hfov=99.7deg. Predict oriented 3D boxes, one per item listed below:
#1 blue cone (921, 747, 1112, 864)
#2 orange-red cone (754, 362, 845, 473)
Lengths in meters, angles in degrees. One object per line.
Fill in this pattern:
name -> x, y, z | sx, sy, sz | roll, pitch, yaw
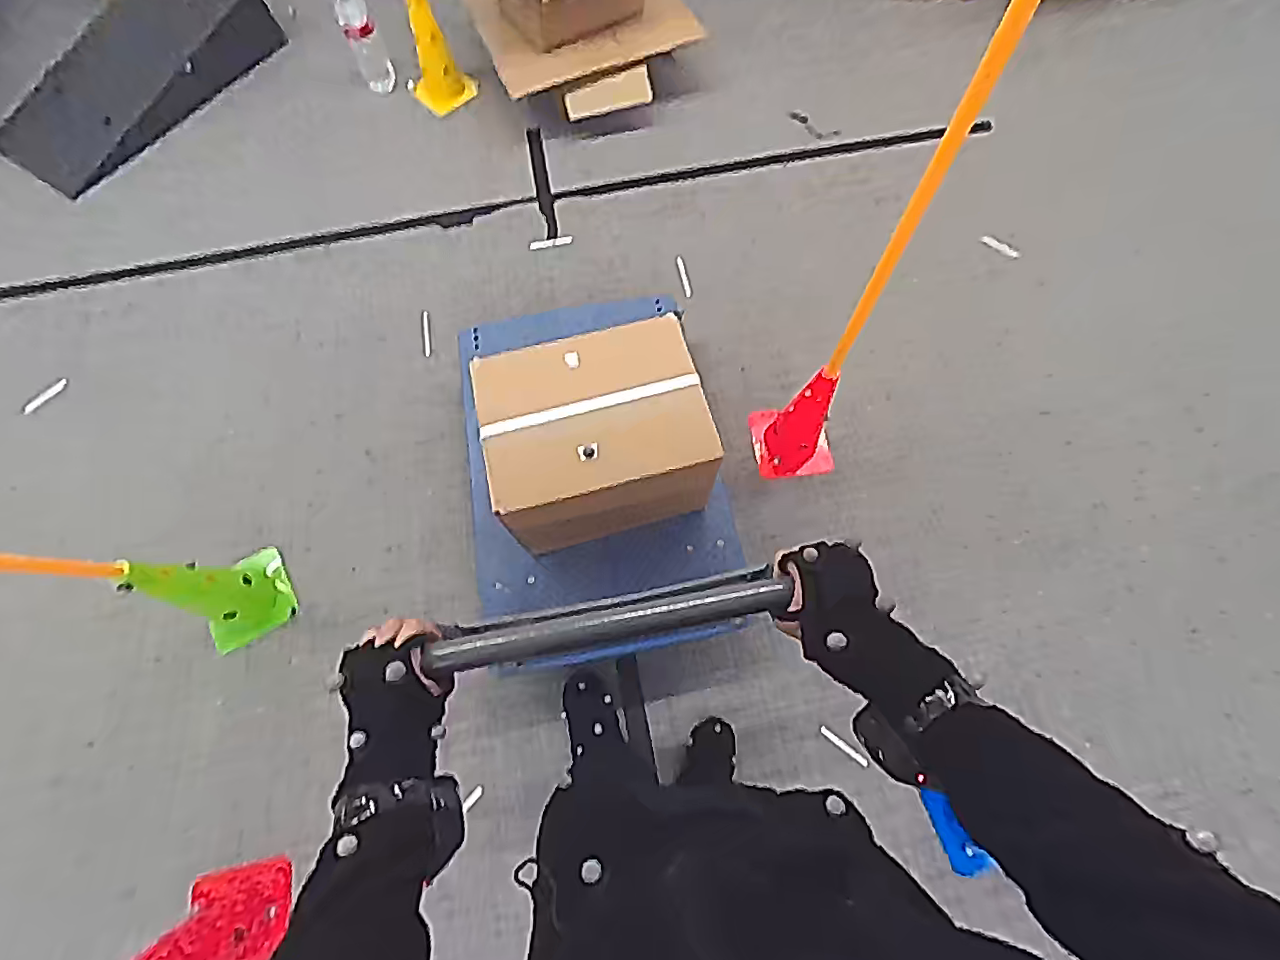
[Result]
blue cone -> 0.719, 0.635, 1.005 | 0.193, 0.380, 0.192 | -15, 69, -5
orange-red cone -> 0.414, -0.172, 1.297 | 0.199, 0.360, 0.198 | -5, 70, -2
